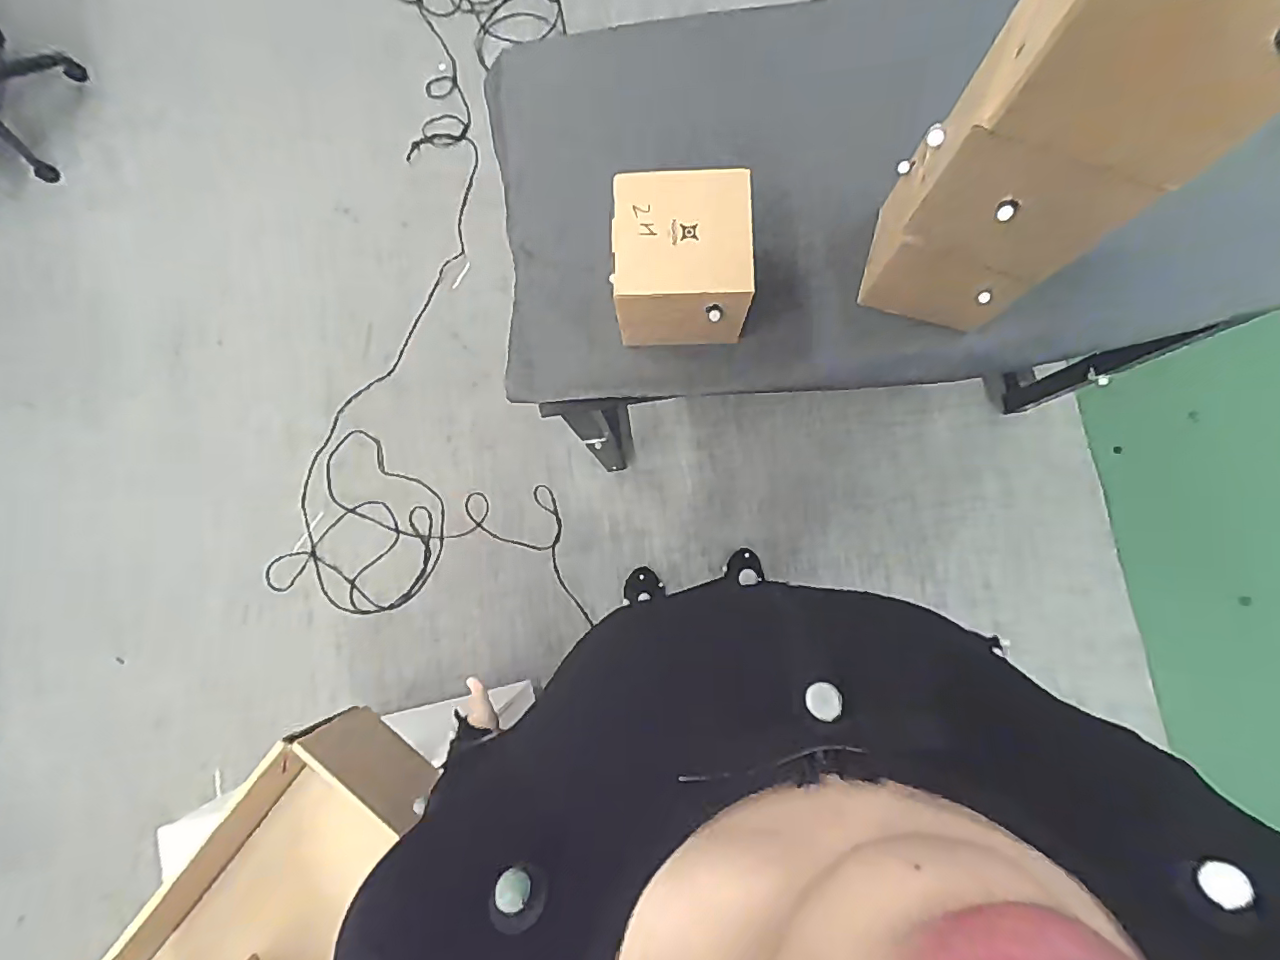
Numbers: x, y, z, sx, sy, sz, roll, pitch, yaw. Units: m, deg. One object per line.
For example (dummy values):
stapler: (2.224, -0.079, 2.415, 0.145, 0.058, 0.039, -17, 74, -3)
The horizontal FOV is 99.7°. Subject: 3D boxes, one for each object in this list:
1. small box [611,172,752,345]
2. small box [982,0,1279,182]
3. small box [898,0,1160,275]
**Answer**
small box: (0.054, -0.295, 0.751, 0.179, 0.176, 0.168, -1, 83, 4)
small box: (0.406, -0.367, 0.409, 0.179, 0.176, 0.168, 24, 83, 6)
small box: (0.412, -0.346, 0.570, 0.179, 0.176, 0.168, 24, 84, 7)
